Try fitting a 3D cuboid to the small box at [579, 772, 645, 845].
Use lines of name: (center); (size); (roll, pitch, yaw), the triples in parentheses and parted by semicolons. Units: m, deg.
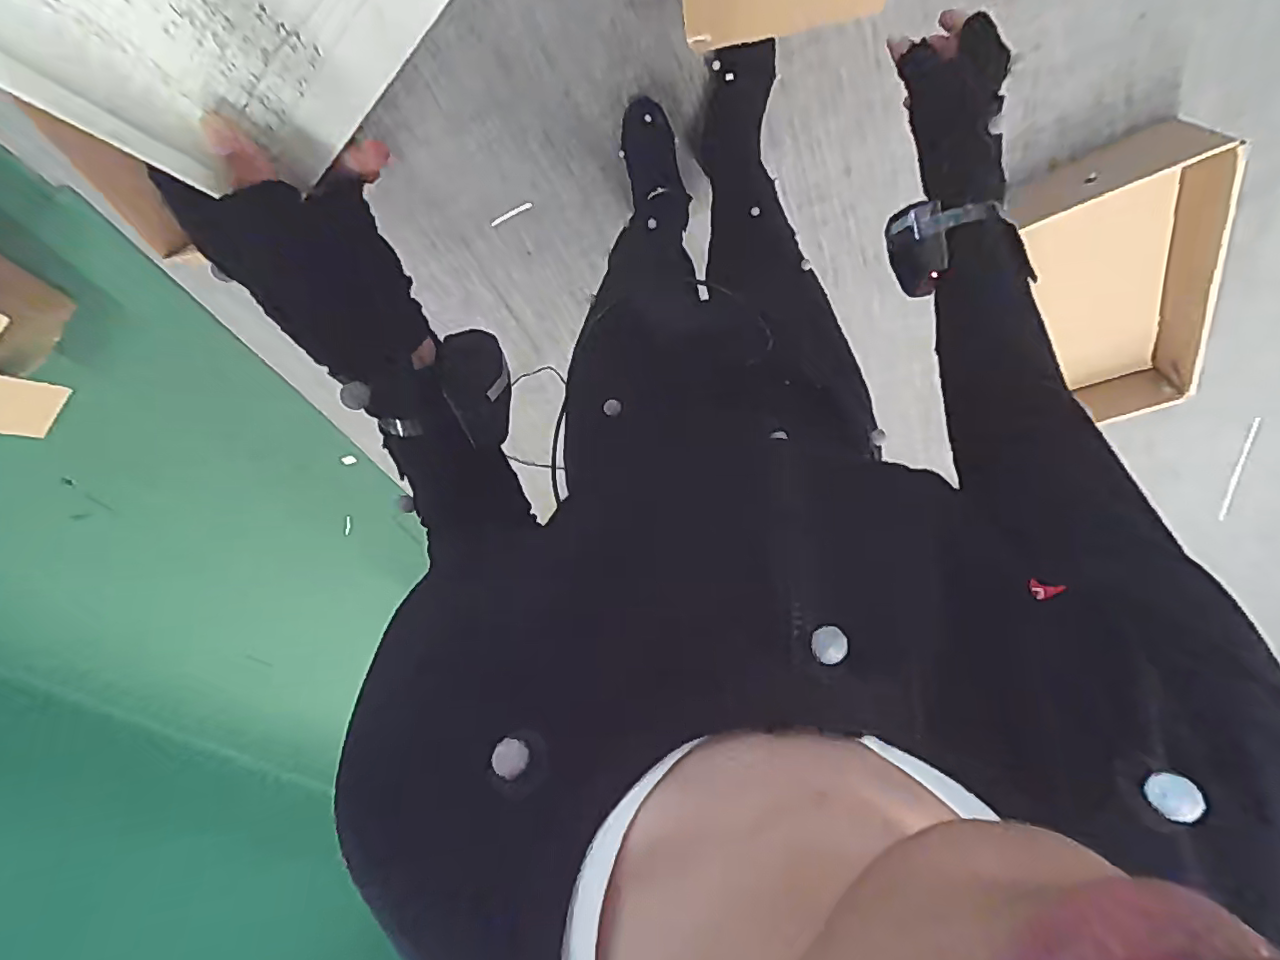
small box: (-0.085, 1.050, 1.734); (0.168, 0.176, 0.179); (-11, 133, 14)
